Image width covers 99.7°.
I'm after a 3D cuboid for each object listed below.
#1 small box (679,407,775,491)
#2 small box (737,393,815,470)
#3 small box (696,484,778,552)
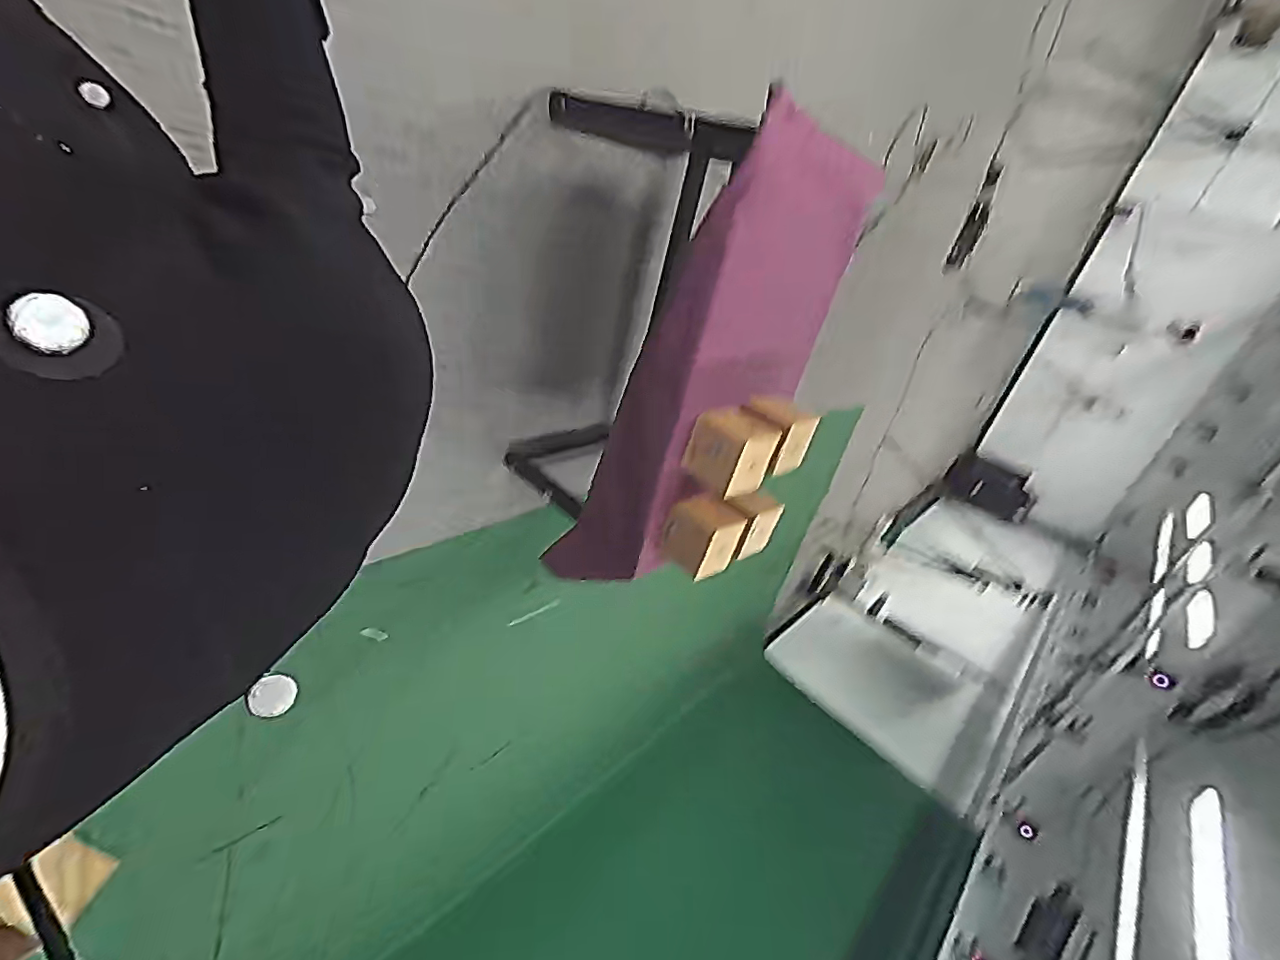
[{"bbox_3d":[0.234,-0.092,1.490,0.179,0.176,0.168,-14,129,-46],"label":"small box"},{"bbox_3d":[0.391,-0.154,1.637,0.179,0.176,0.168,-16,132,-44],"label":"small box"},{"bbox_3d":[0.318,0.110,1.788,0.179,0.176,0.168,-12,128,-48],"label":"small box"}]
